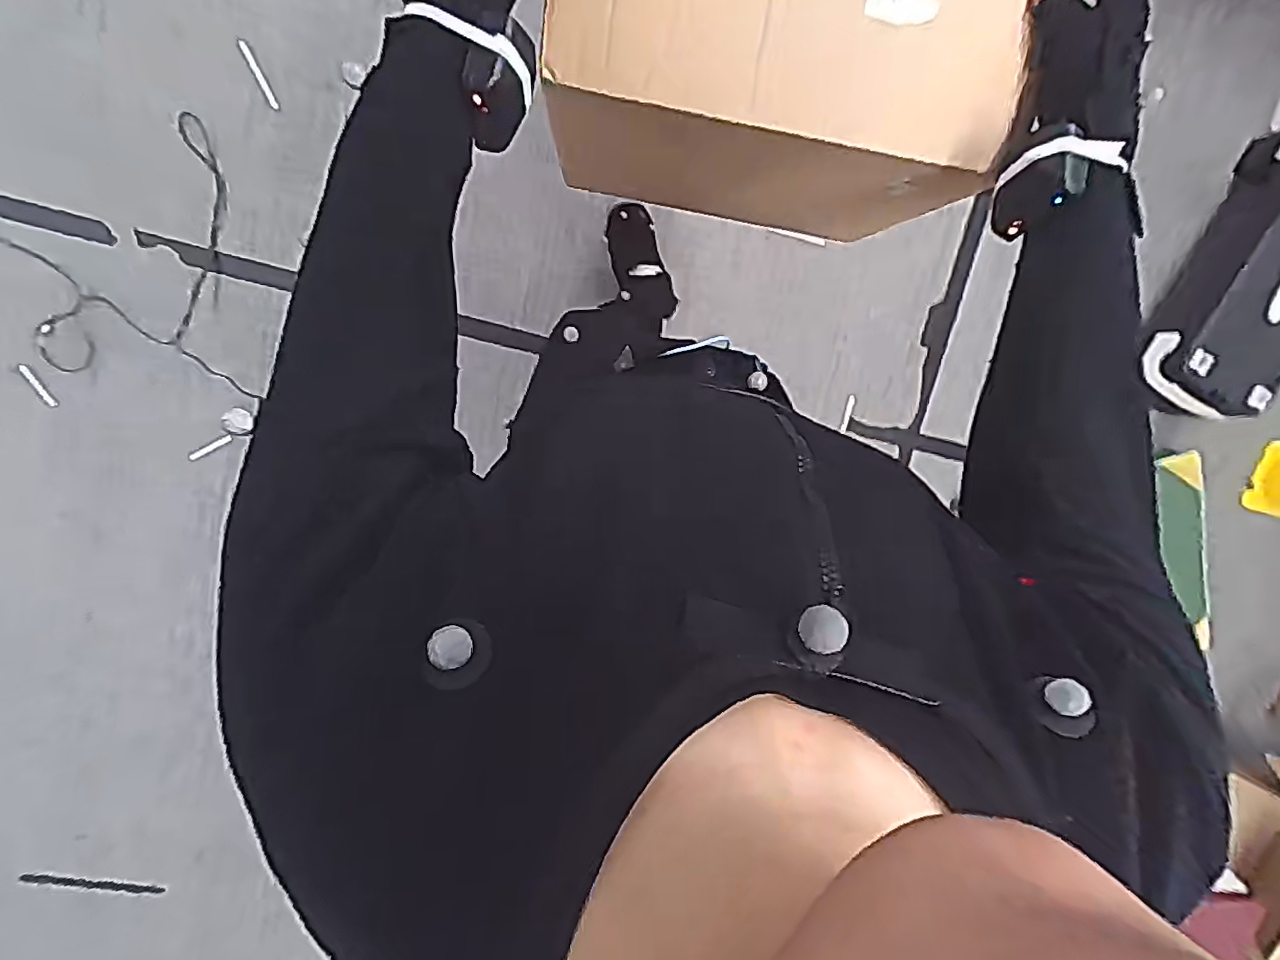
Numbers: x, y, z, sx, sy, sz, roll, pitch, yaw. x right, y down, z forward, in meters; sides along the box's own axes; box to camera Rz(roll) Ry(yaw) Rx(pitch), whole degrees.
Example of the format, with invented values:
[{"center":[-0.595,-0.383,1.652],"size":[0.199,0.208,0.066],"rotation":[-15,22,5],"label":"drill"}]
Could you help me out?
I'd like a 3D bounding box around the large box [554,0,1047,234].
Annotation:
[{"center":[0.132,-0.477,0.565],"size":[0.408,0.320,0.320],"rotation":[8,105,-7],"label":"large box"}]
